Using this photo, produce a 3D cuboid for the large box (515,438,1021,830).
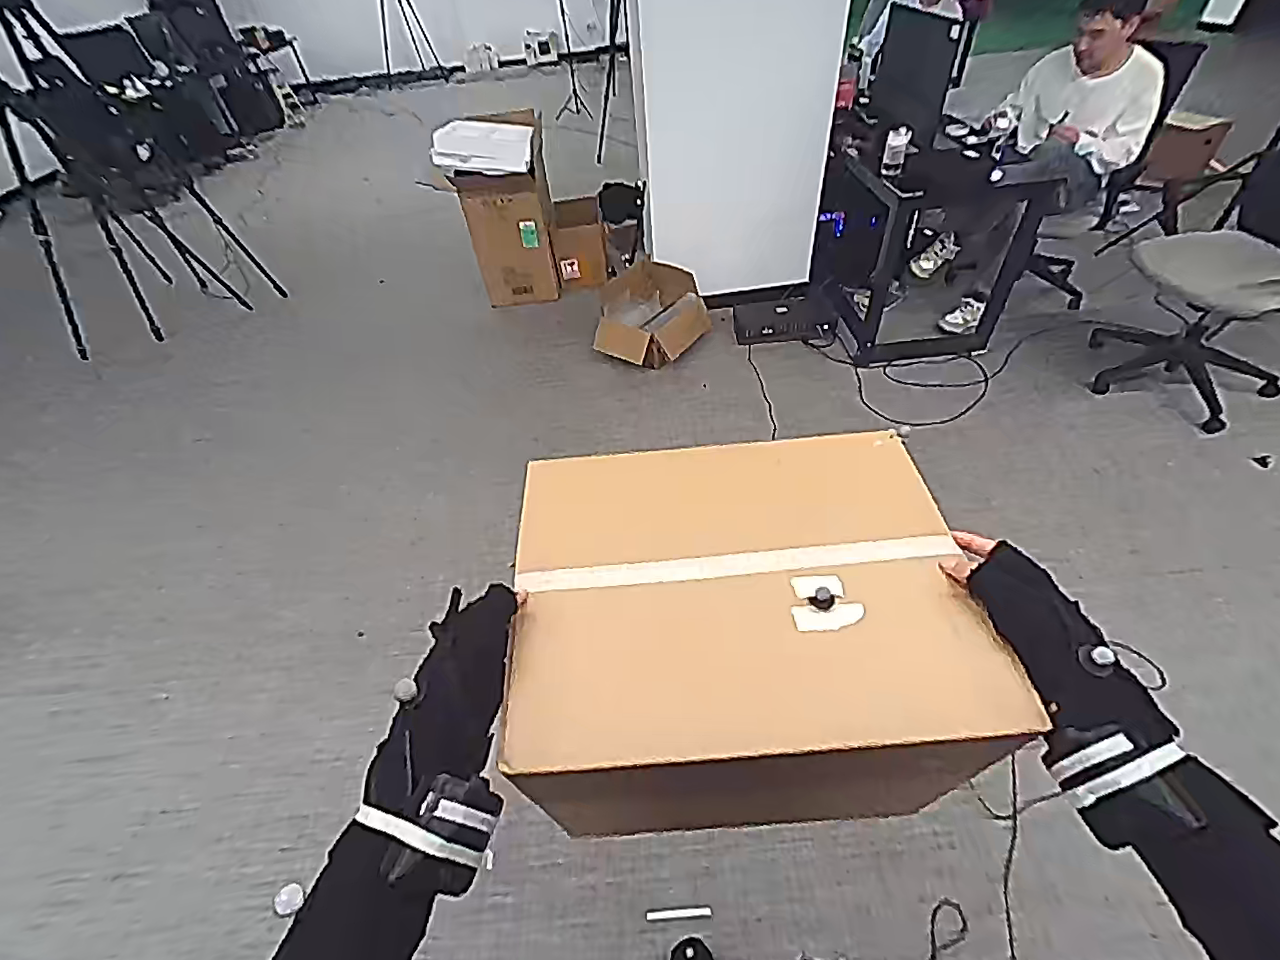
[{"bbox_3d":[0.097,0.182,0.624,0.408,0.320,0.320,-5,49,1],"label":"large box"}]
